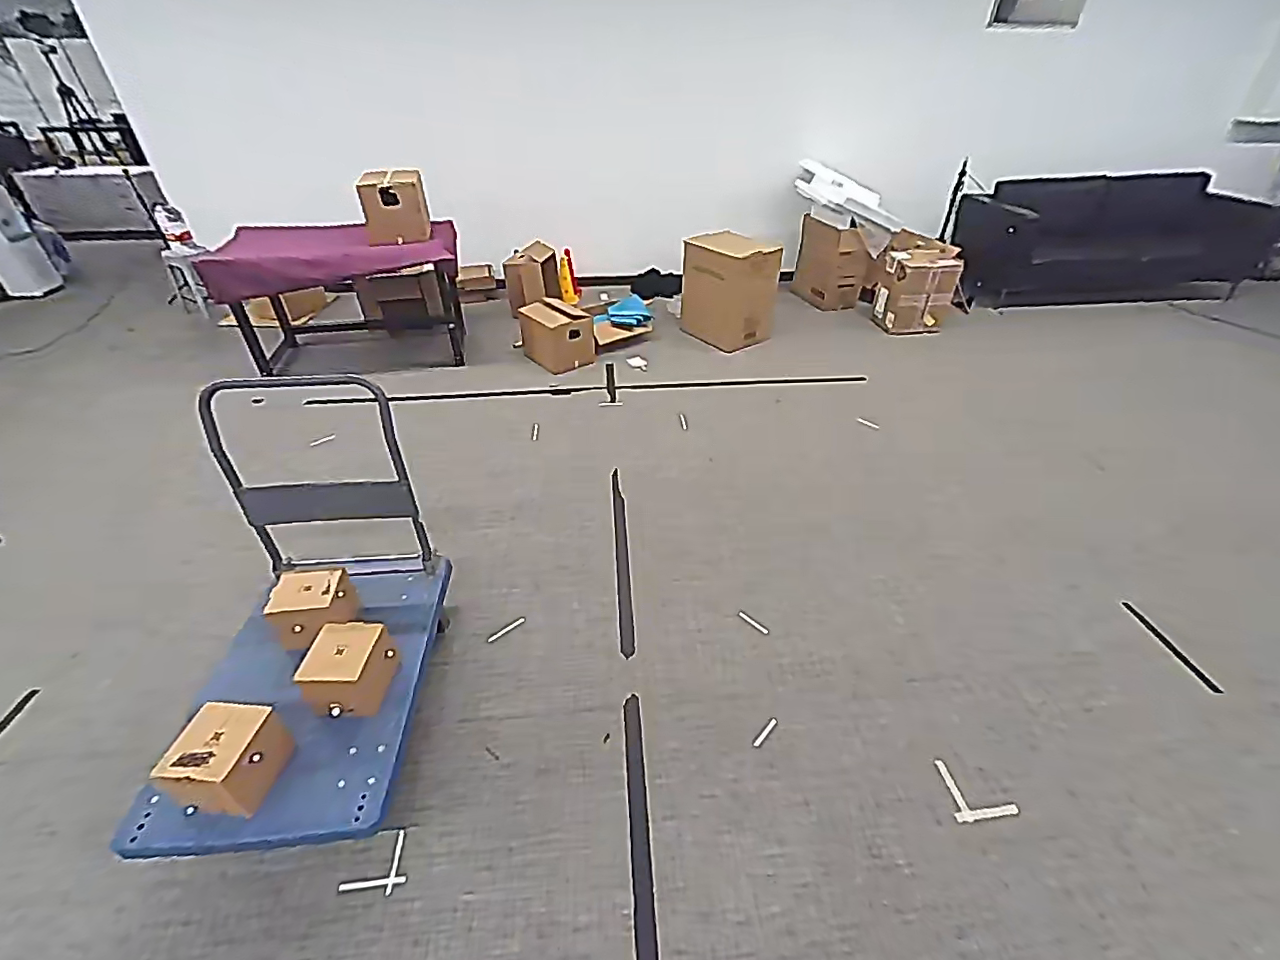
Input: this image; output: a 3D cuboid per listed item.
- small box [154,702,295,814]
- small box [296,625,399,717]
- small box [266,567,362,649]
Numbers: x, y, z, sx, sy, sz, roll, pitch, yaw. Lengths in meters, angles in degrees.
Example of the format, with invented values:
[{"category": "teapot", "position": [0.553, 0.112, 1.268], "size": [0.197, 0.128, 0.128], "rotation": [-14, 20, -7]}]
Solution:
[{"category": "small box", "position": [-0.952, 0.650, 1.261], "size": [0.168, 0.176, 0.179], "rotation": [3, 36, 4]}, {"category": "small box", "position": [-0.771, 0.512, 1.453], "size": [0.168, 0.176, 0.179], "rotation": [-1, 38, 2]}, {"category": "small box", "position": [-0.966, 0.385, 1.619], "size": [0.179, 0.176, 0.168], "rotation": [-6, 38, -7]}]
